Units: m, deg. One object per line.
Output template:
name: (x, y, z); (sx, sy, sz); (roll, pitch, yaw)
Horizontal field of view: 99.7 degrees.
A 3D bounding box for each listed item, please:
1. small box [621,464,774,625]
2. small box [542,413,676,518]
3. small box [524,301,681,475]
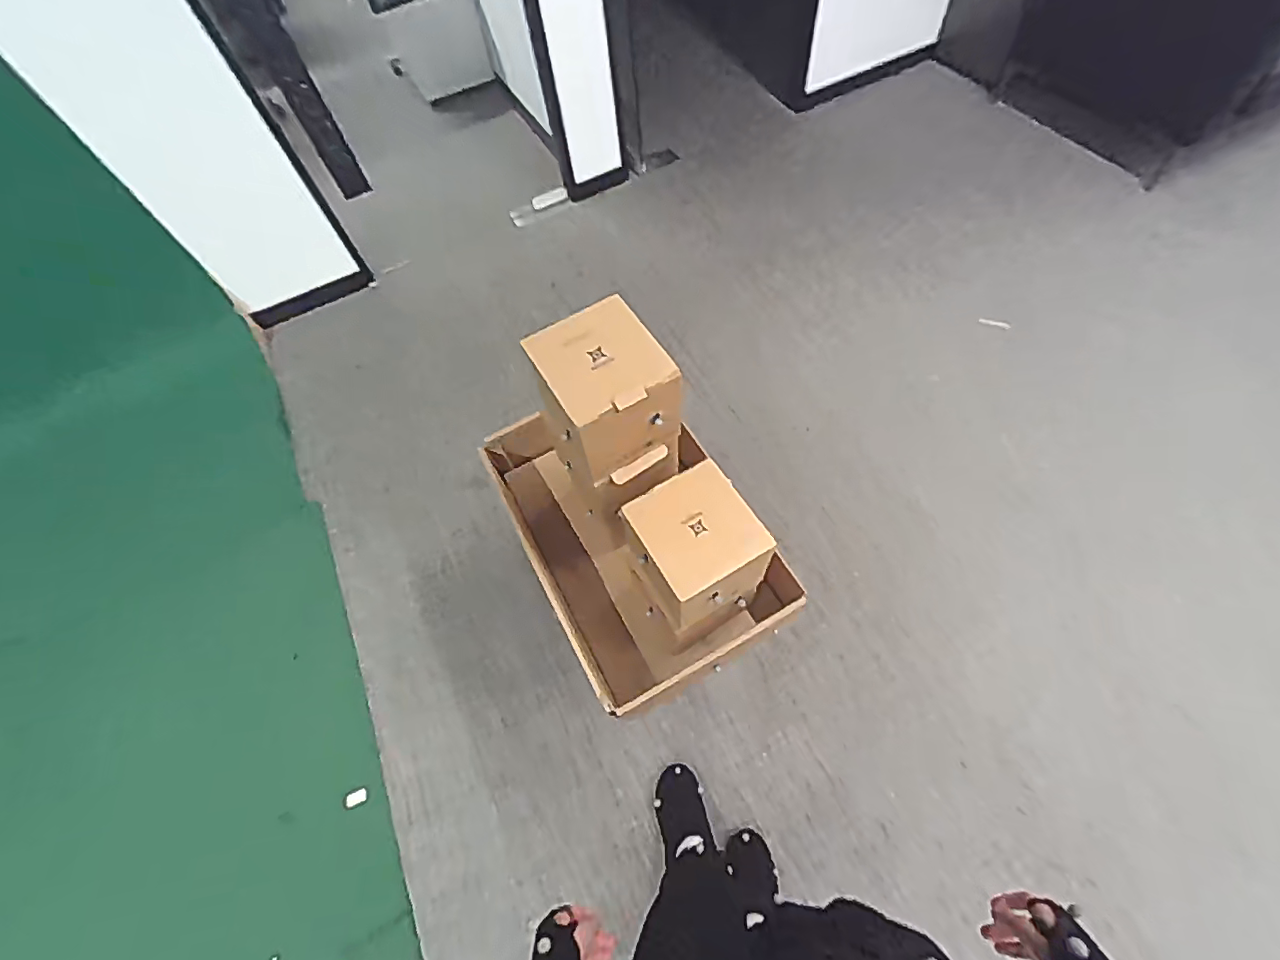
small box: (0.090, 0.112, 0.863); (0.168, 0.176, 0.179); (-29, 62, -11)
small box: (-0.047, -0.052, 0.967); (0.168, 0.176, 0.179); (-32, 65, -12)
small box: (-0.050, -0.128, 0.824); (0.168, 0.176, 0.179); (-29, 65, -11)
